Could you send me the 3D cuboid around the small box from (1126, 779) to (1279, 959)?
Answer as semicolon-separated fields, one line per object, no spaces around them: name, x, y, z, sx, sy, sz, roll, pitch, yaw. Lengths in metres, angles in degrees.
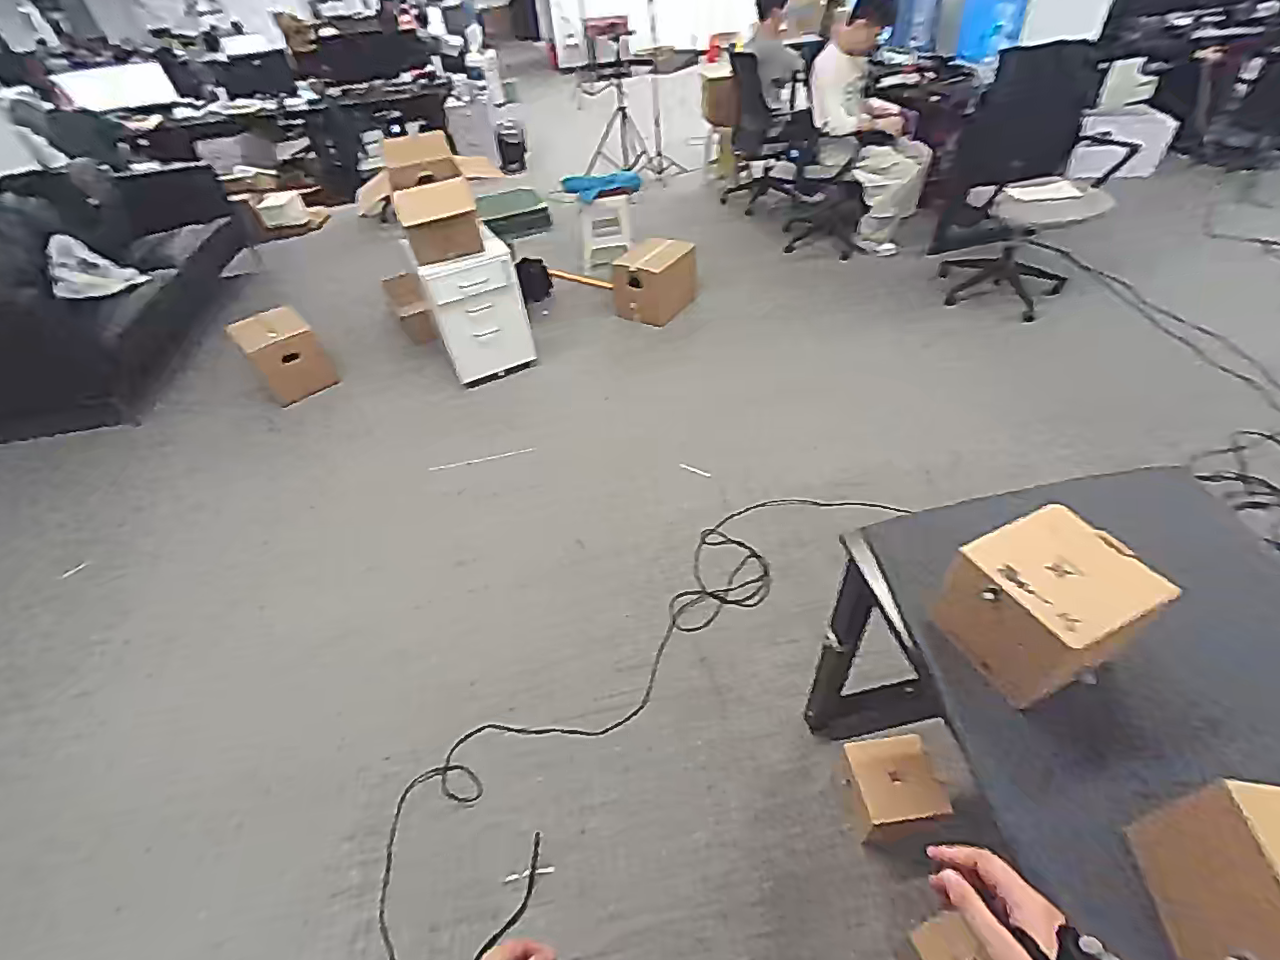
small box;0.605;0.403;0.485;0.168;0.176;0.179;5;43;8

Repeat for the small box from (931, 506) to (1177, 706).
small box;0.538;0.170;0.734;0.179;0.176;0.168;-20;45;-13

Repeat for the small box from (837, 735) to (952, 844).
small box;0.564;0.707;1.232;0.179;0.176;0.168;-7;43;-1
